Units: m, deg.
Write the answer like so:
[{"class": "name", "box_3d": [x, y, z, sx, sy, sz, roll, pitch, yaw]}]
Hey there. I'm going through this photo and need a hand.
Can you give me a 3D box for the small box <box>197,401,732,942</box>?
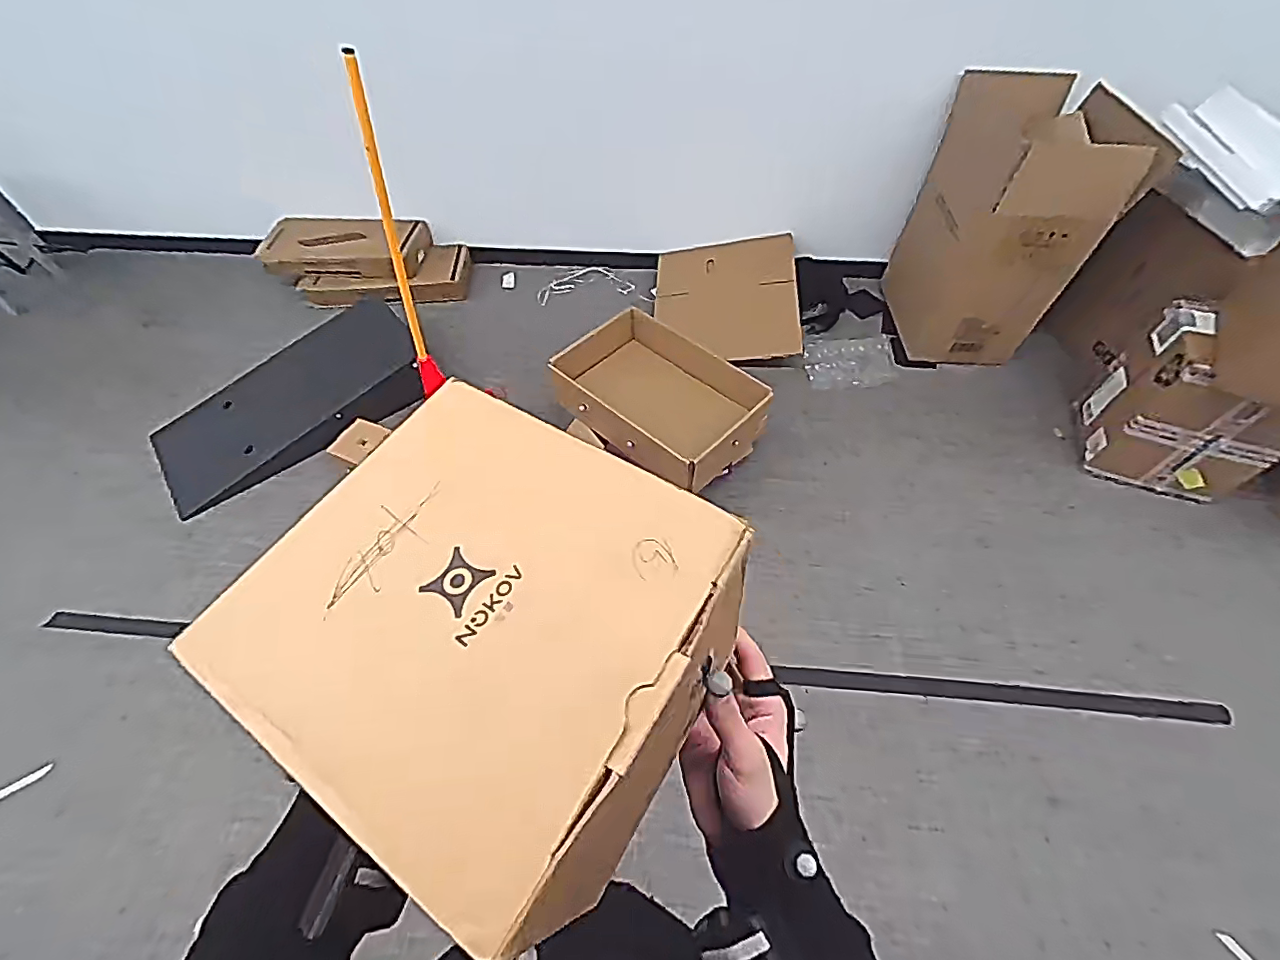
[{"class": "small box", "box_3d": [-0.065, 0.093, 0.297, 0.179, 0.176, 0.168, 25, 62, 22]}]
